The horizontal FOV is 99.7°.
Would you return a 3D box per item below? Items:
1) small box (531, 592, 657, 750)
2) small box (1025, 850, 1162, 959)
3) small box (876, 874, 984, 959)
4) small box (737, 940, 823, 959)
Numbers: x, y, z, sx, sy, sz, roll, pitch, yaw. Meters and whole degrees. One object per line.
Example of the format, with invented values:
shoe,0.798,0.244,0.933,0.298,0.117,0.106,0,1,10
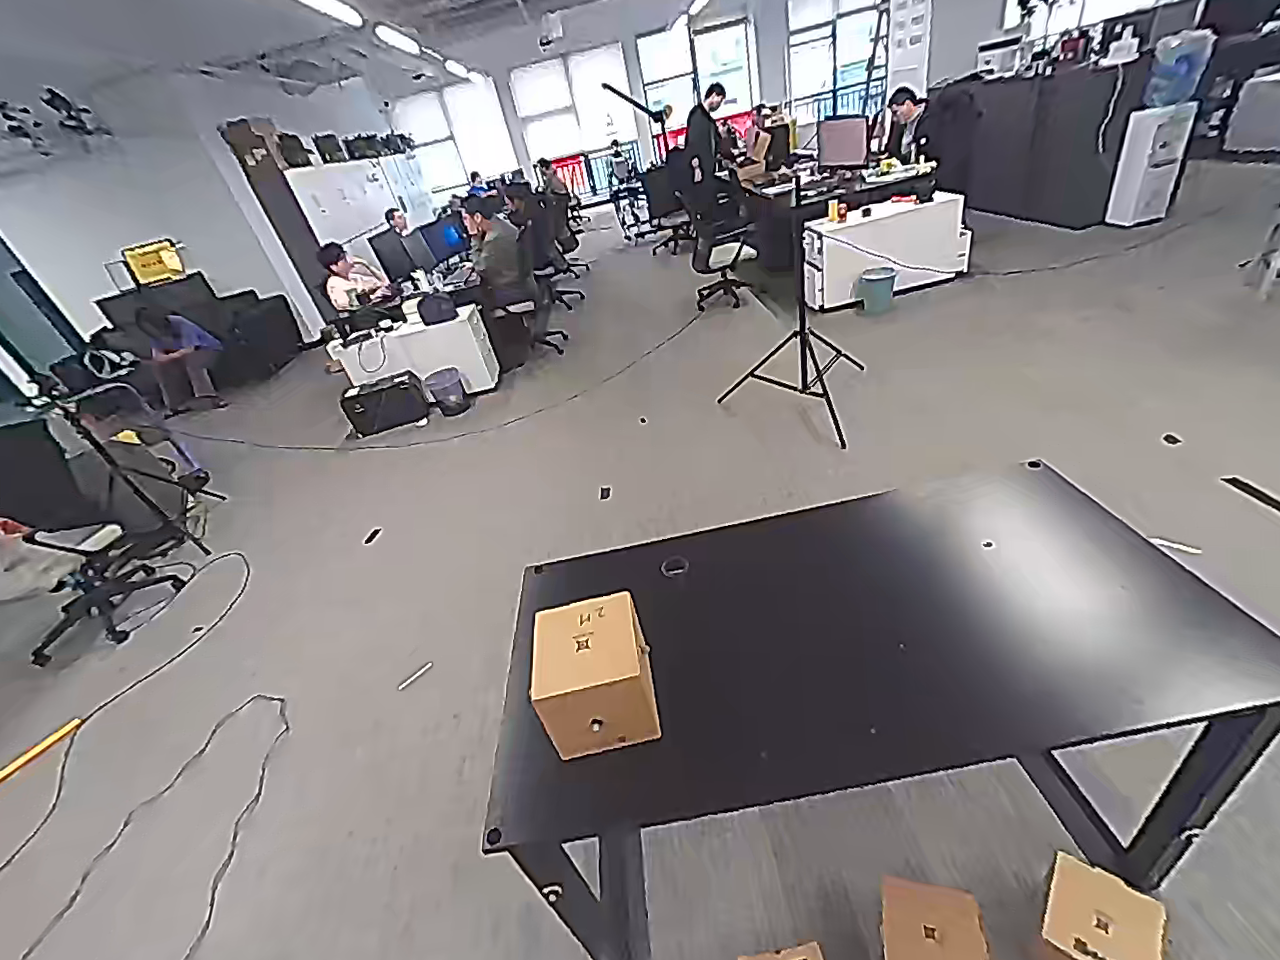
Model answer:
small box,-0.073,0.321,0.898,0.168,0.176,0.179,-13,33,1
small box,0.870,0.879,1.045,0.168,0.176,0.179,16,44,38
small box,0.574,0.934,1.082,0.179,0.176,0.168,-1,35,21
small box,0.292,1.034,1.041,0.168,0.176,0.179,-13,35,2
